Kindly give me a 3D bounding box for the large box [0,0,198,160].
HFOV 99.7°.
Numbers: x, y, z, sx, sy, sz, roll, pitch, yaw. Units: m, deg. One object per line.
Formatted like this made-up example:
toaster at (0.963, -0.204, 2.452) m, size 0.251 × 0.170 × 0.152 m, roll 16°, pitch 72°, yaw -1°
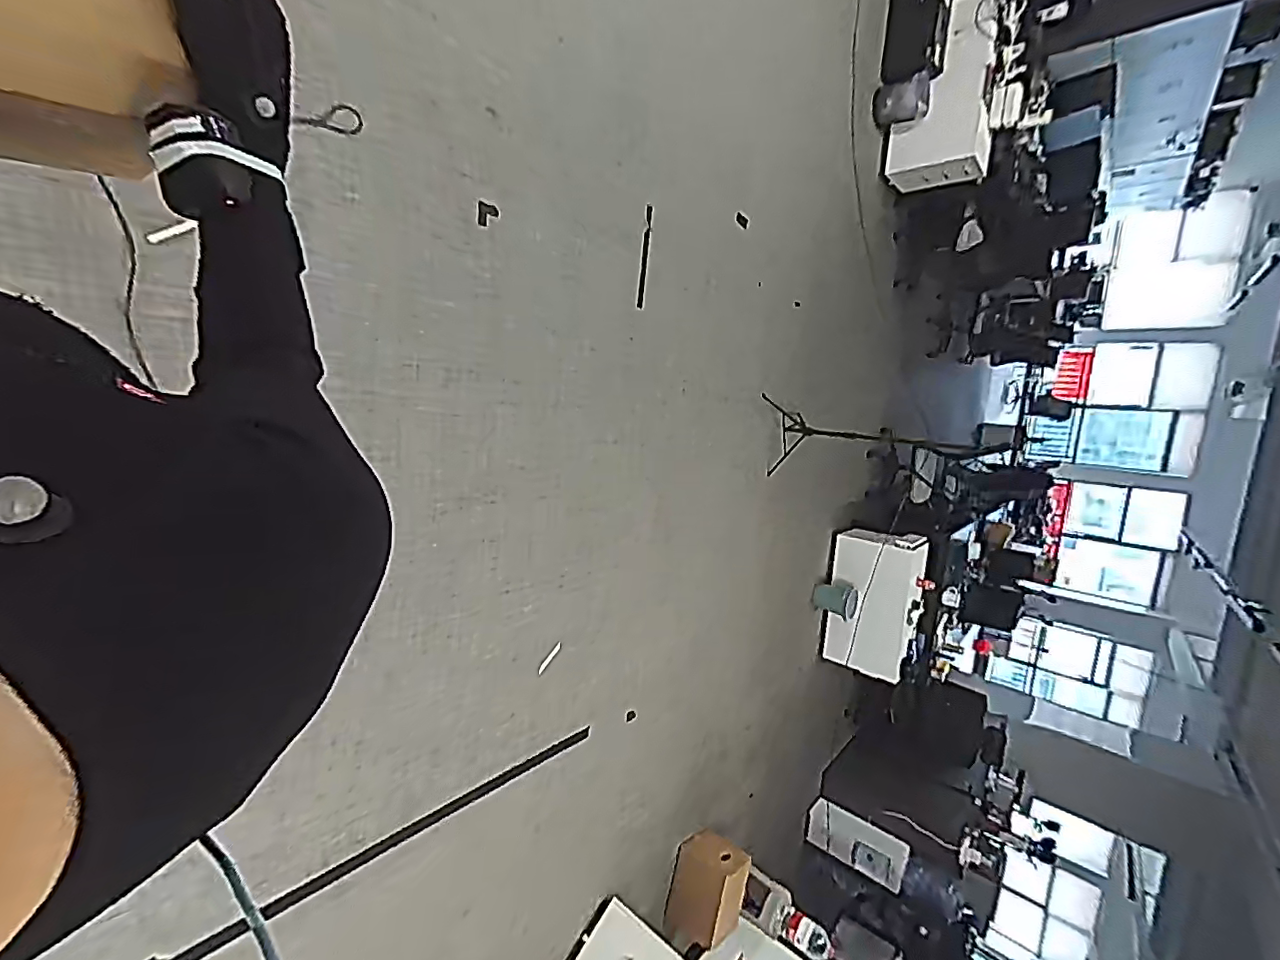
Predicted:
large box at (-0.583, -0.425, 0.326) m, size 0.408 × 0.320 × 0.320 m, roll -17°, pitch 117°, yaw -47°
